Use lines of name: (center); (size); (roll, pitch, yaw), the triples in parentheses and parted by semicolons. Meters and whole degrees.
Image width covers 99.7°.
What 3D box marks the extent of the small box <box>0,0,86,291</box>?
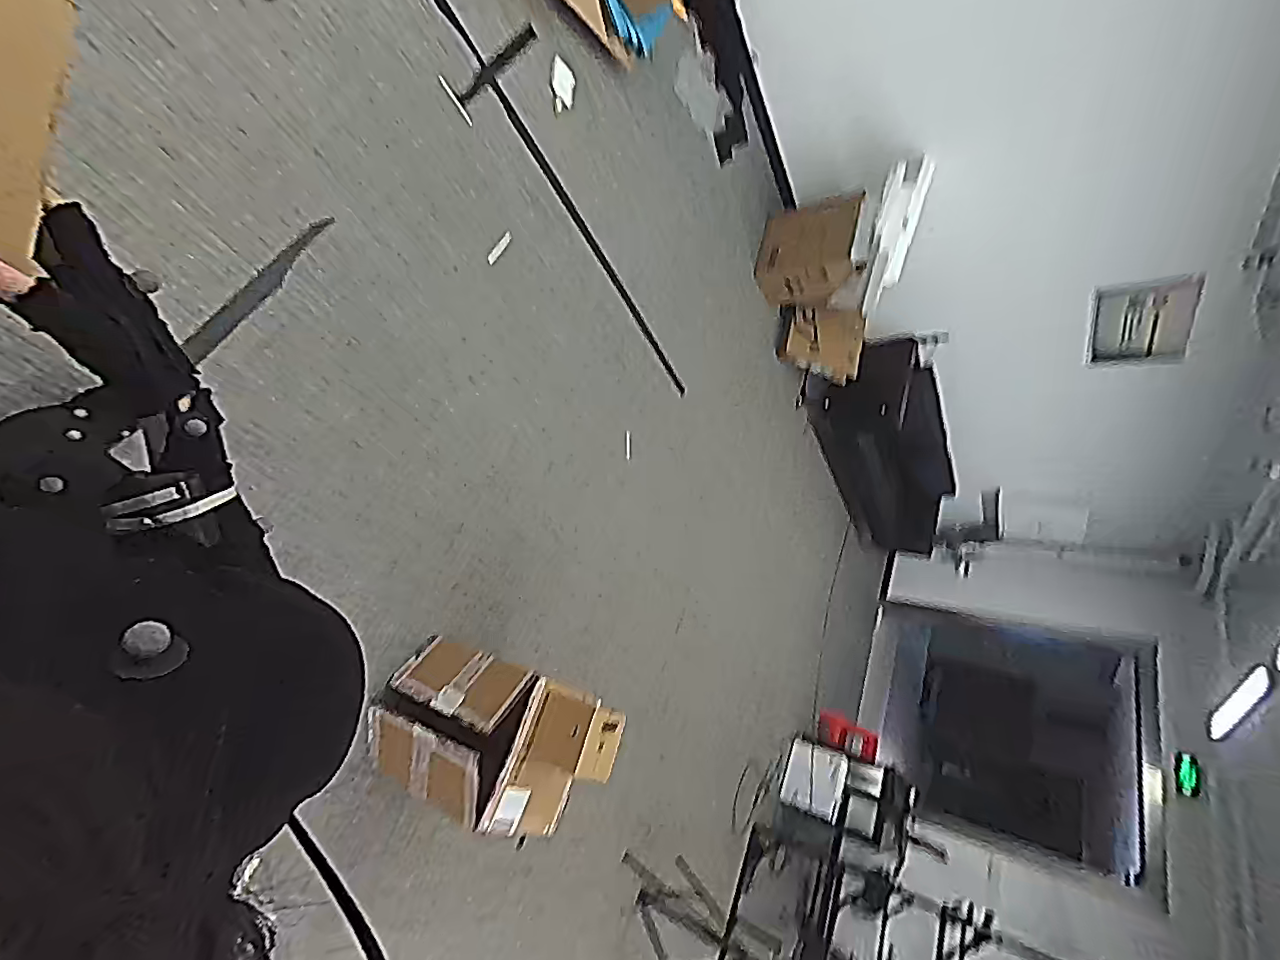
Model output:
small box: (-0.446, -0.225, 0.277); (0.168, 0.176, 0.179); (6, 104, -65)

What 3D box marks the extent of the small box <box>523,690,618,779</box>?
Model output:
small box: (-0.192, 0.696, 1.485); (0.168, 0.176, 0.179); (45, 56, -48)
